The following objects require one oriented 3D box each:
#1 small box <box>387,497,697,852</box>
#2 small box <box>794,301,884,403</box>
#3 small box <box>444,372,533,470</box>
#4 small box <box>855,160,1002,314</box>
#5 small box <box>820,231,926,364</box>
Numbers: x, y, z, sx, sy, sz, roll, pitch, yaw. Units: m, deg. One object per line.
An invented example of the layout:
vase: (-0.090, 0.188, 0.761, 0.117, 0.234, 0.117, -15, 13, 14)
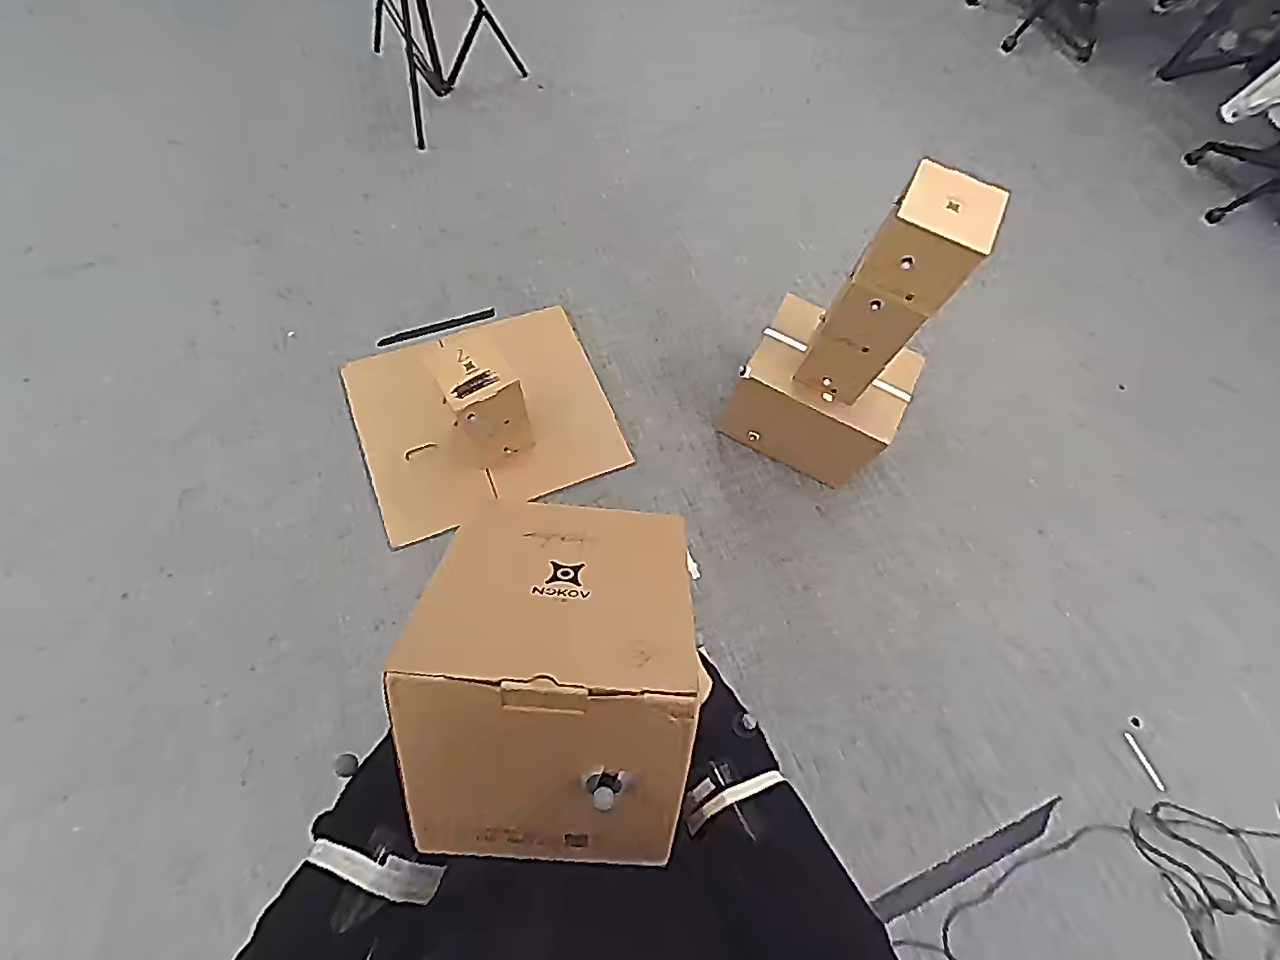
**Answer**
small box: (-0.056, 0.132, 0.390, 0.168, 0.176, 0.179, 5, 27, -3)
small box: (0.498, -0.322, 1.317, 0.168, 0.176, 0.179, 26, 68, 6)
small box: (-0.410, -0.156, 1.484, 0.168, 0.176, 0.179, -29, 73, -14)
small box: (0.531, -0.449, 1.017, 0.168, 0.176, 0.179, 26, 67, 6)
small box: (0.514, -0.389, 1.168, 0.168, 0.176, 0.179, 27, 67, 6)
